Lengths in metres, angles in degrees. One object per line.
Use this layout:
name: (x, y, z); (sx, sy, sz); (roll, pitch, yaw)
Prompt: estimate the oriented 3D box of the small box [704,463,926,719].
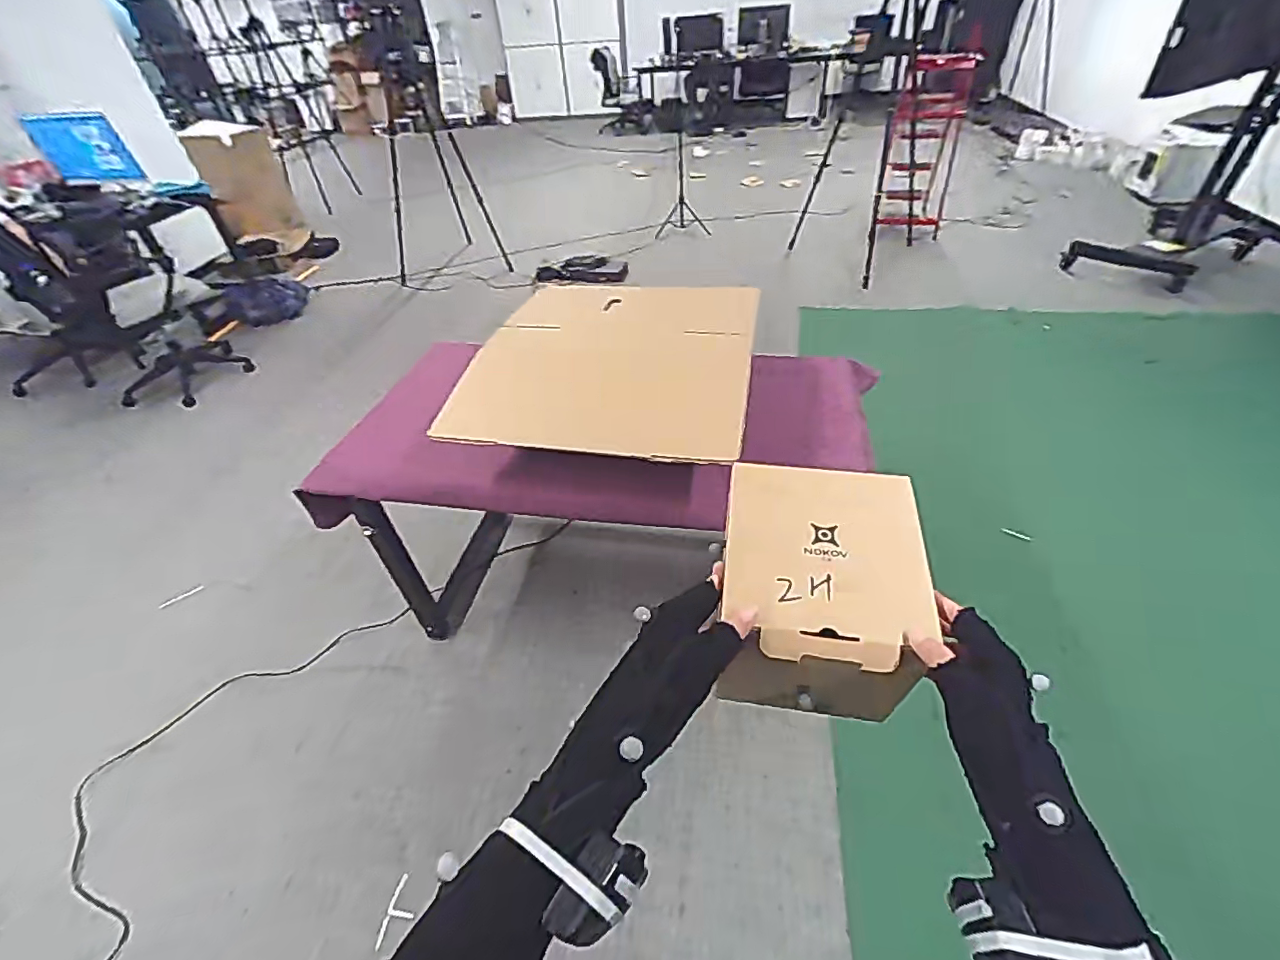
small box: (0.153, 0.109, 0.530); (0.168, 0.176, 0.179); (5, 50, 9)
